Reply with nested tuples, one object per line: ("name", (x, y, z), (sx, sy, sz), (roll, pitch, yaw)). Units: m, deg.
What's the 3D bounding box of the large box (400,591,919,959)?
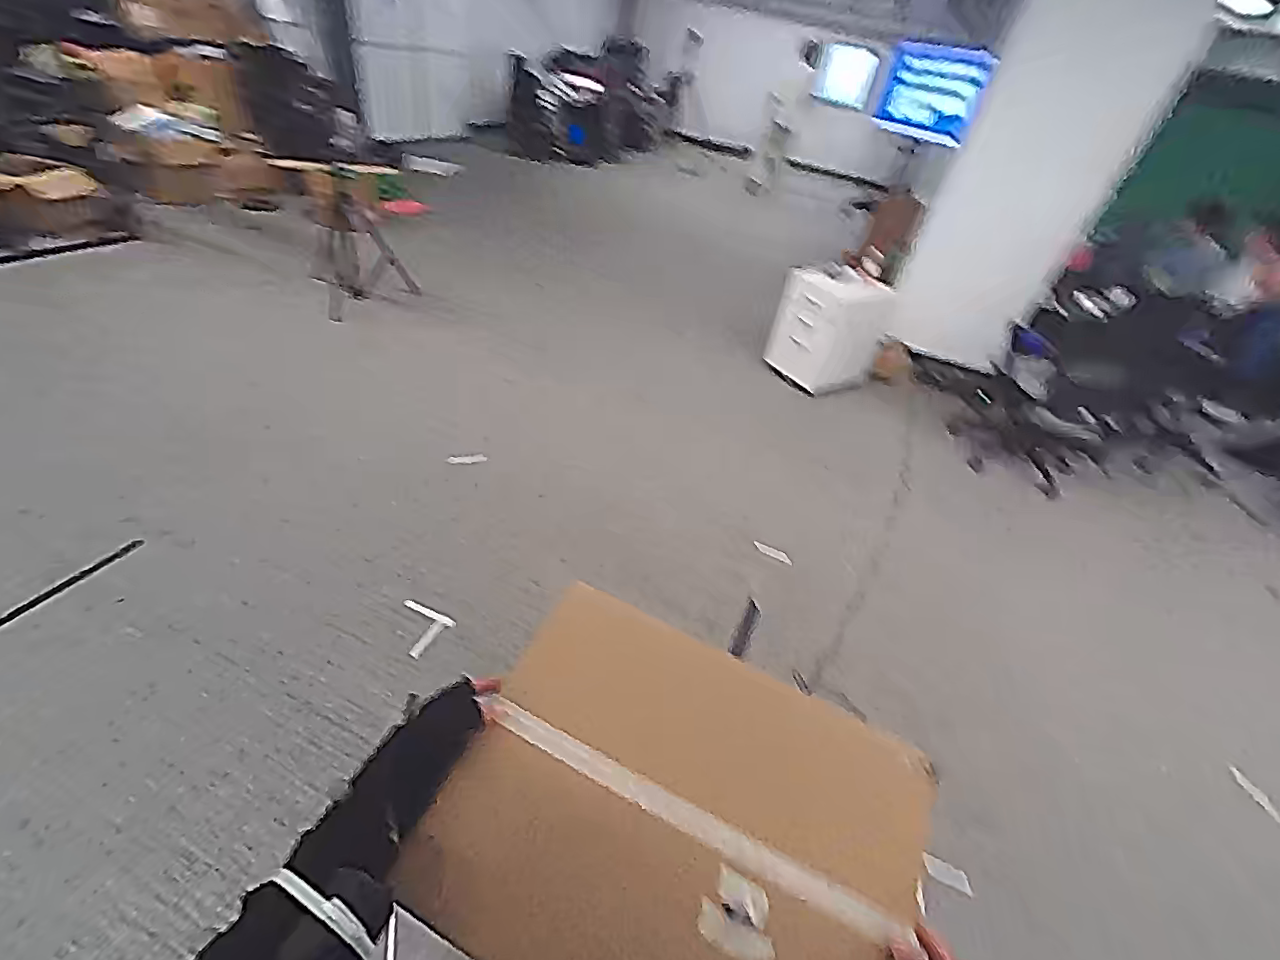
("large box", (0.024, 0.398, 0.609), (0.408, 0.320, 0.320), (24, 53, 13))
